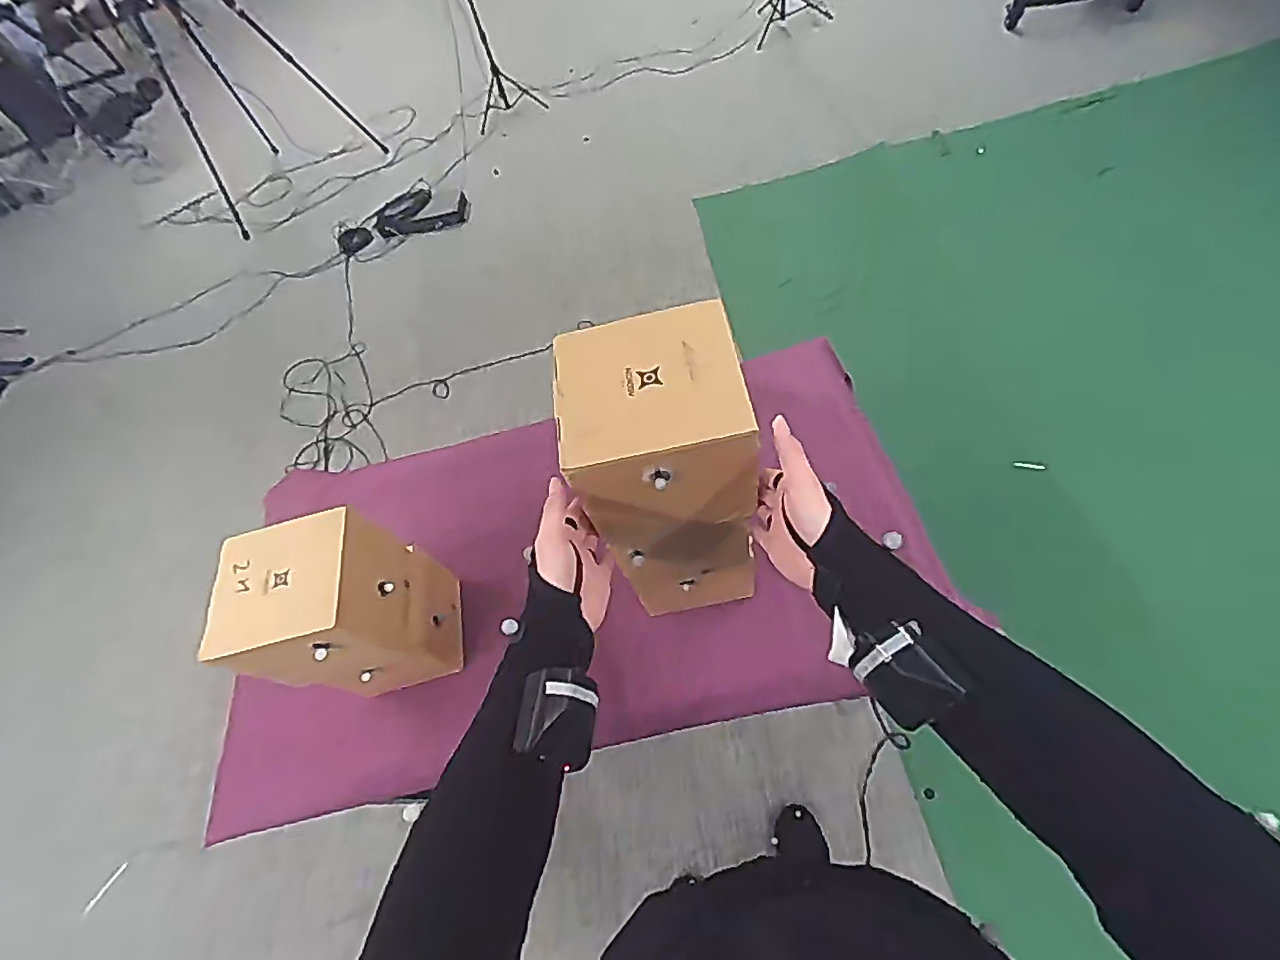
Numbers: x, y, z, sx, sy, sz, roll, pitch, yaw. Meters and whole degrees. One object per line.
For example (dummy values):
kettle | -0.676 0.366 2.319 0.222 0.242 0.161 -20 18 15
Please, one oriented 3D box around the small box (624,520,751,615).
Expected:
small box | 0.073 0.101 0.856 0.179 0.176 0.168 -12 58 4

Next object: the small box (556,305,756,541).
small box | 0.021 -0.049 0.569 0.179 0.176 0.168 -11 59 5

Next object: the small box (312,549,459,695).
small box | -0.406 0.235 0.878 0.179 0.176 0.168 -17 58 2

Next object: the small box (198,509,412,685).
small box | -0.430 0.164 0.730 0.179 0.176 0.168 -15 58 3
